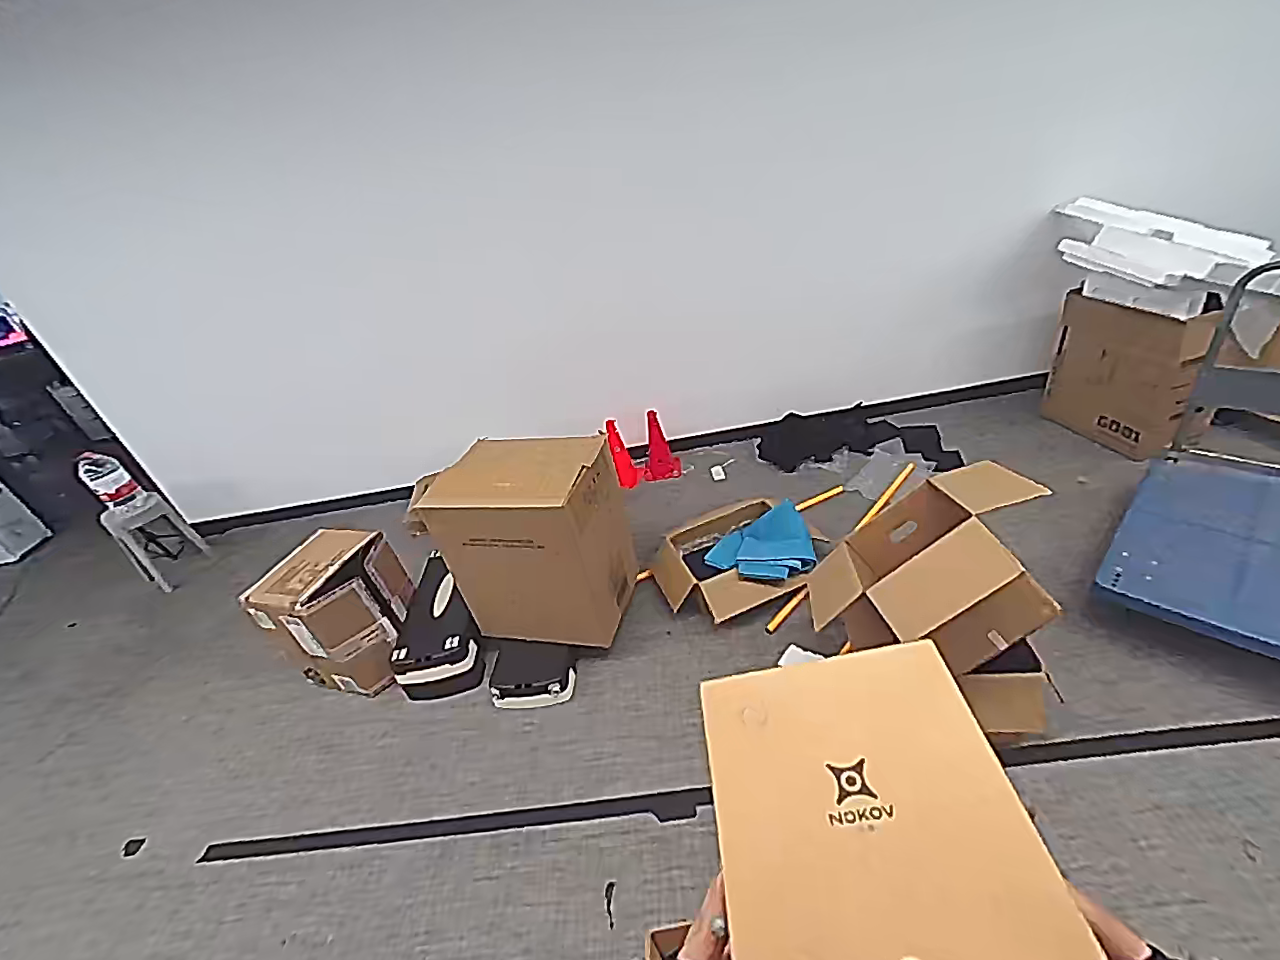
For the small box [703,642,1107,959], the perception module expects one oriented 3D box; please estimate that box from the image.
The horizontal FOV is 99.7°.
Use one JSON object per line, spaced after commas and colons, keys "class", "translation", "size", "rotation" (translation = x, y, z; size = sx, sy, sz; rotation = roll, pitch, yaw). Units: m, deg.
{"class": "small box", "translation": [0.145, 0.242, 0.358], "size": [0.168, 0.176, 0.179], "rotation": [-14, 35, 8]}
